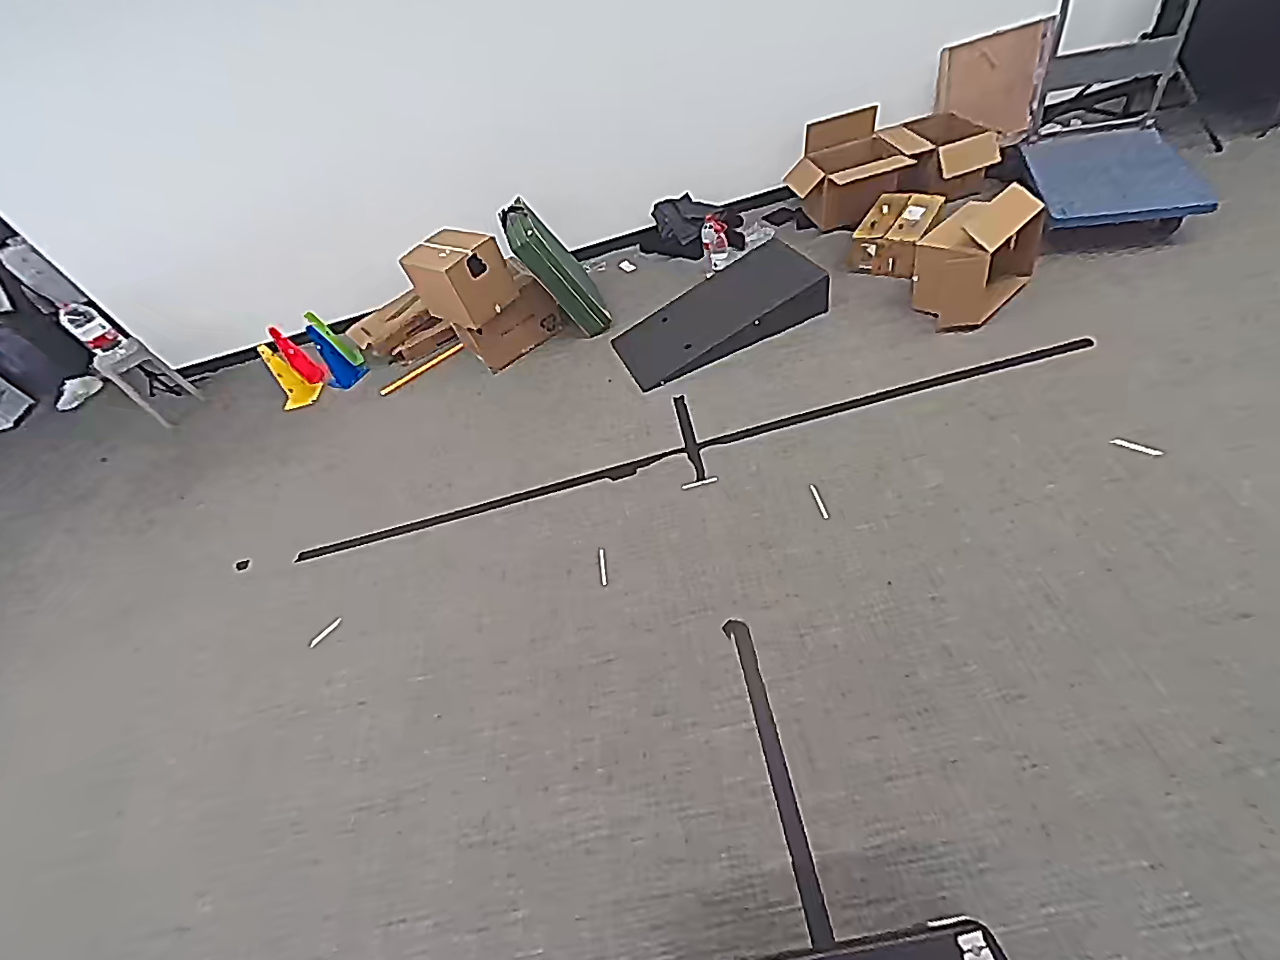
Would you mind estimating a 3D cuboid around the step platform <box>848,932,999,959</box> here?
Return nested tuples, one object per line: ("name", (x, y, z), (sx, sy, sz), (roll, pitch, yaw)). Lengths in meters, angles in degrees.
("step platform", (0.374, 1.078, 0.993), (0.684, 0.204, 0.286), (-15, 48, 3))
